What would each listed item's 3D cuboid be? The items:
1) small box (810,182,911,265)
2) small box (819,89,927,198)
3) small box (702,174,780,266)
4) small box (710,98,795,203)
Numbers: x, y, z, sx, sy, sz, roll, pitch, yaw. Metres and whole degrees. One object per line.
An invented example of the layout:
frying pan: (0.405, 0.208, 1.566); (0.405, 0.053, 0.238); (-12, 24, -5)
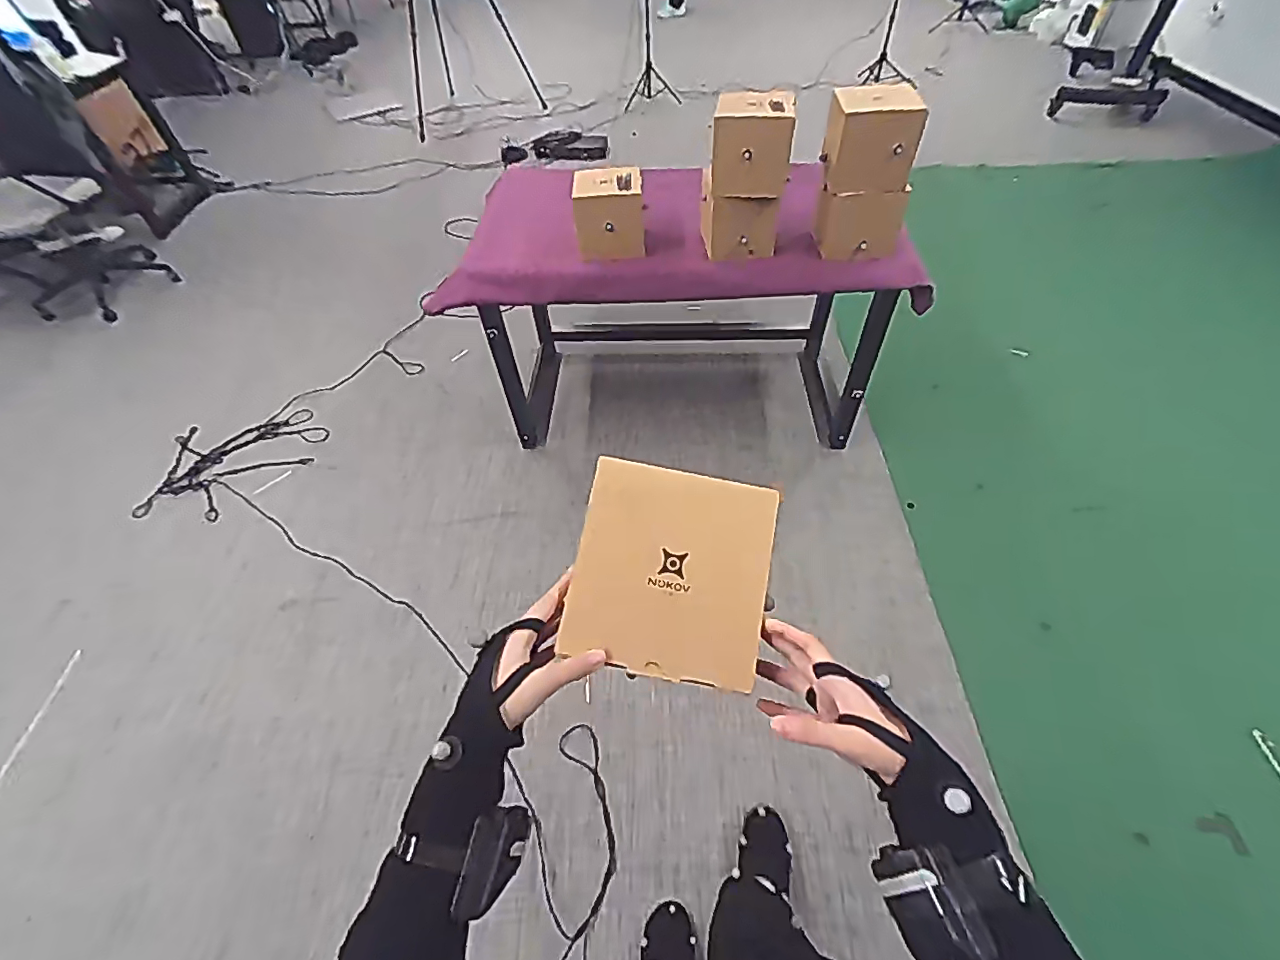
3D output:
small box: (0.550, -0.667, 1.374); (0.179, 0.176, 0.168); (-4, 51, 2)
small box: (0.529, -0.776, 1.253); (0.179, 0.176, 0.168); (0, 51, 6)
small box: (0.255, -0.682, 1.409); (0.168, 0.176, 0.179); (-6, 50, 0)
small box: (0.261, -0.768, 1.266); (0.179, 0.176, 0.168); (5, 50, 10)
